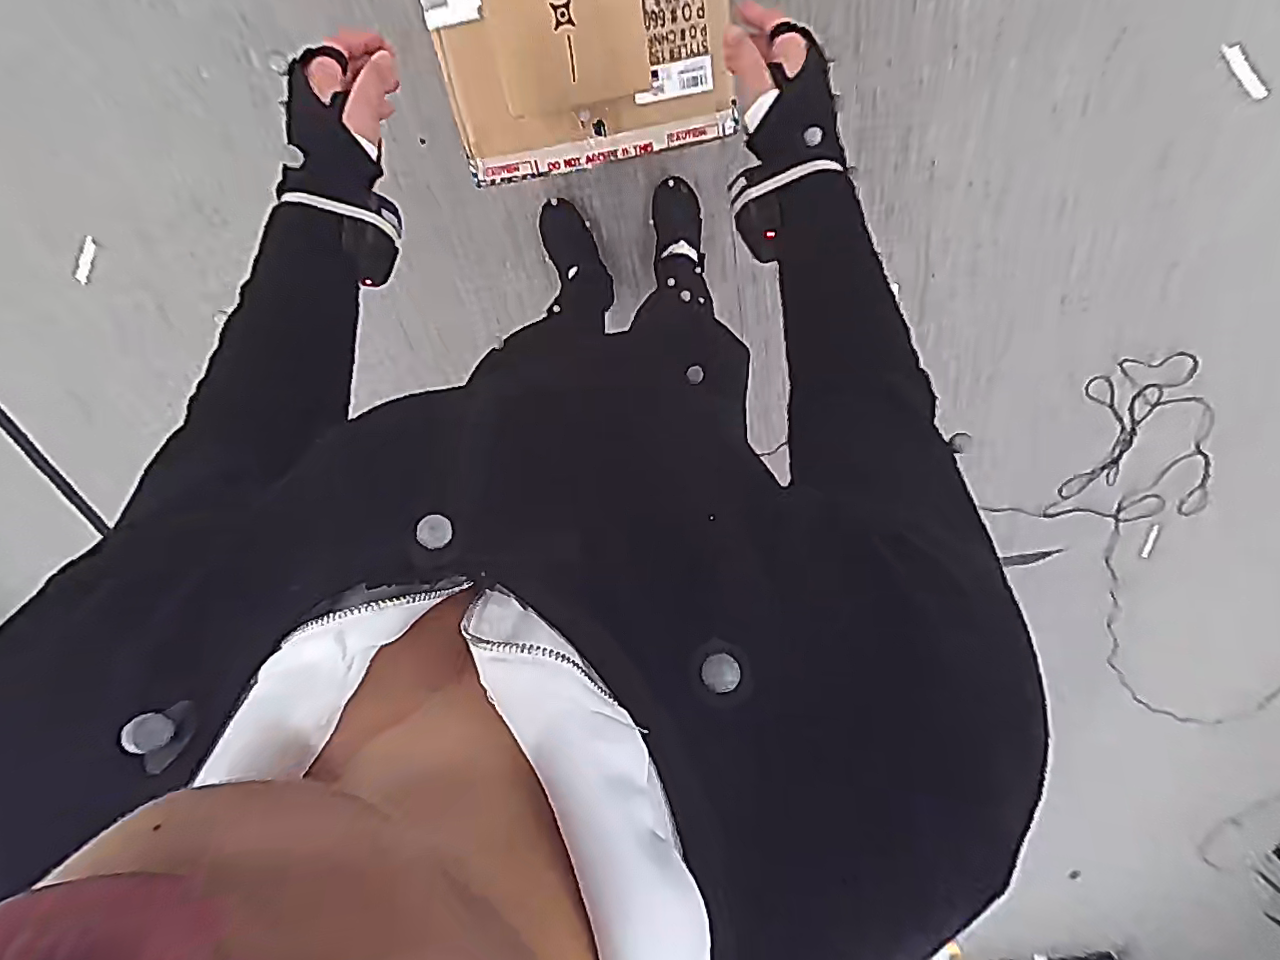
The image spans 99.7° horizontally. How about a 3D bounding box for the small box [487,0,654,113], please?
[{"bbox_3d":[-0.079,-0.541,0.624,0.168,0.176,0.179,-8,126,4],"label":"small box"}]
